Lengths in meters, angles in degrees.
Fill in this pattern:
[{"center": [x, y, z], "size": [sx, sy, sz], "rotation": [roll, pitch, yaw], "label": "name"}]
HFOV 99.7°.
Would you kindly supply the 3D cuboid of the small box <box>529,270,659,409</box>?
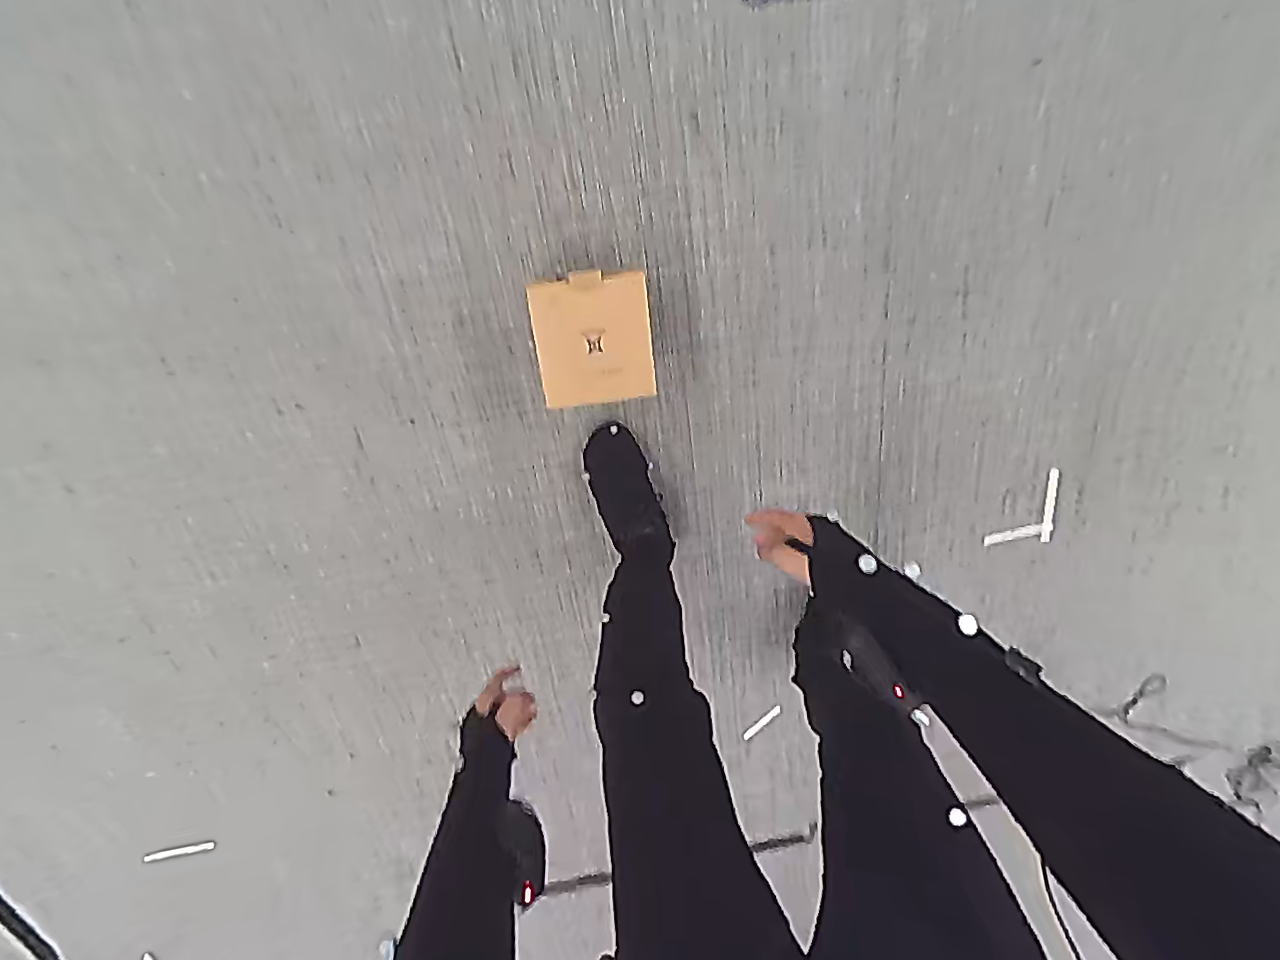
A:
[{"center": [-0.069, -0.219, 0.827], "size": [0.168, 0.176, 0.179], "rotation": [-8, 112, -2], "label": "small box"}]
